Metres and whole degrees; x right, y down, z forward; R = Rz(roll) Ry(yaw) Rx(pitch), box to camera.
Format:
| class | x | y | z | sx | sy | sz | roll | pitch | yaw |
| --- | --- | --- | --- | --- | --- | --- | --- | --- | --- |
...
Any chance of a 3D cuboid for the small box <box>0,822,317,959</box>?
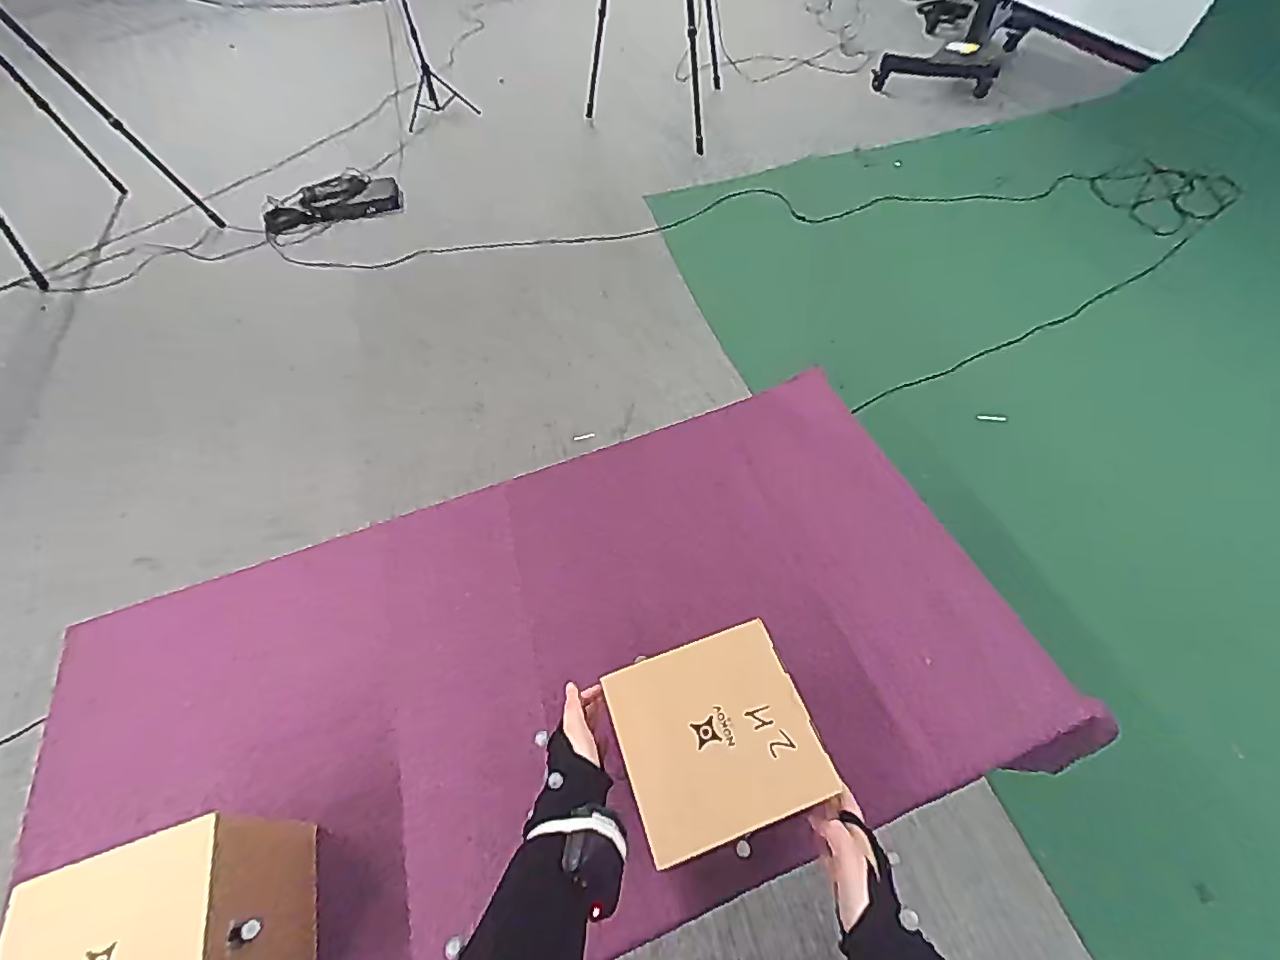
| class | x | y | z | sx | sy | sz | roll | pitch | yaw |
| --- | --- | --- | --- | --- | --- | --- | --- | --- | --- |
| small box | -0.418 | 0.439 | 0.486 | 0.168 | 0.176 | 0.179 | -18 | 57 | -9 |

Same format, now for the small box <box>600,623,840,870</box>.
| class | x | y | z | sx | sy | sz | roll | pitch | yaw |
| --- | --- | --- | --- | --- | --- | --- | --- | --- | --- |
| small box | 0.073 | 0.278 | 0.561 | 0.179 | 0.176 | 0.168 | -18 | 57 | -8 |
